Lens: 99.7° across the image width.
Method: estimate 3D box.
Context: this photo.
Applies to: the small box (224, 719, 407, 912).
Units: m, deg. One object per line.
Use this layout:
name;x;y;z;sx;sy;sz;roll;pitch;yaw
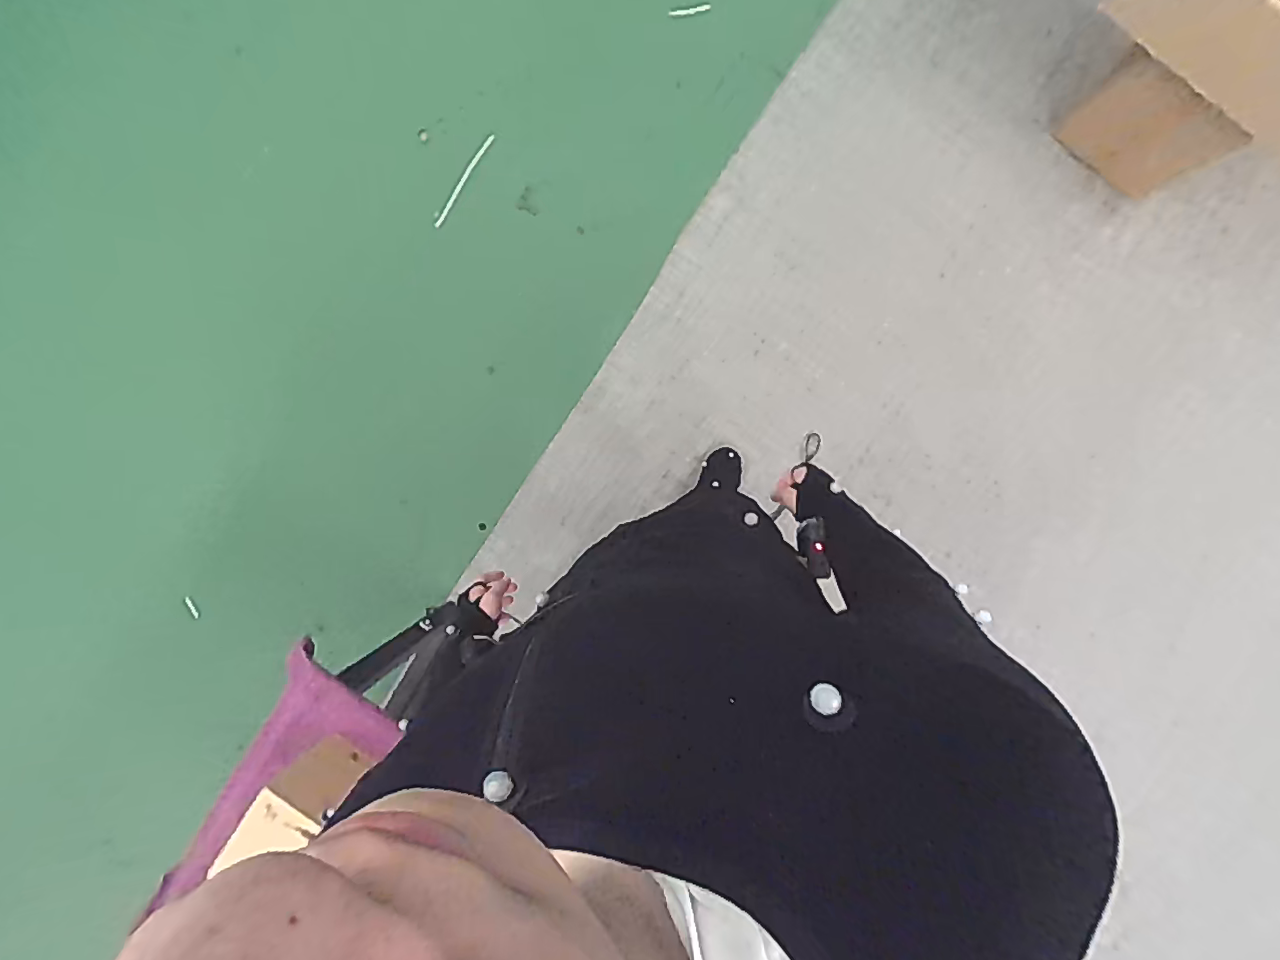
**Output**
small box;-0.530;0.551;0.912;0.168;0.176;0.179;34;95;1
